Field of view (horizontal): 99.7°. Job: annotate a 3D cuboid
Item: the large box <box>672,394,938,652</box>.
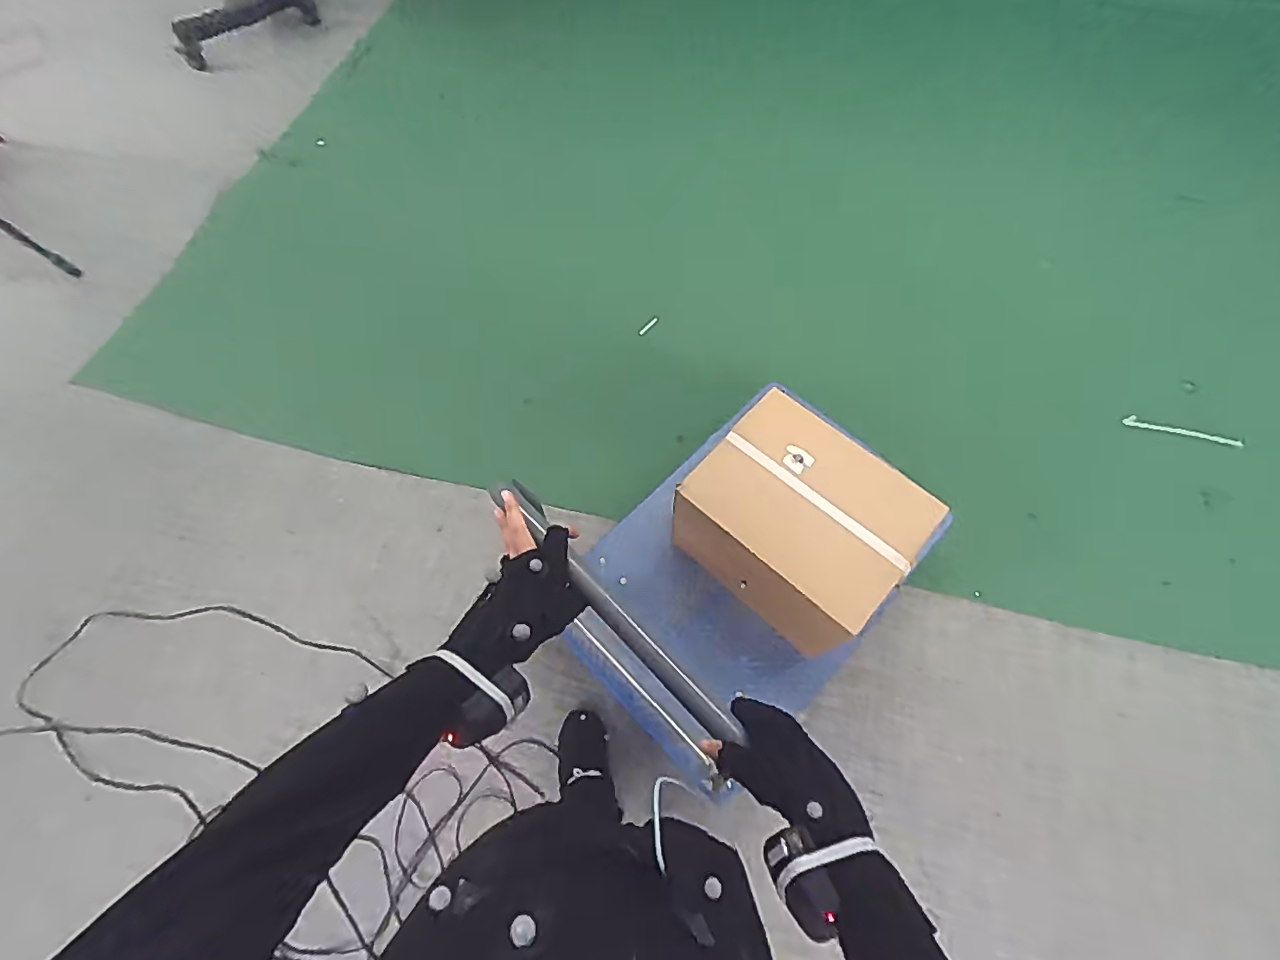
[{"bbox_3d":[0.316,0.102,1.152,0.408,0.320,0.320,39,71,18],"label":"large box"}]
